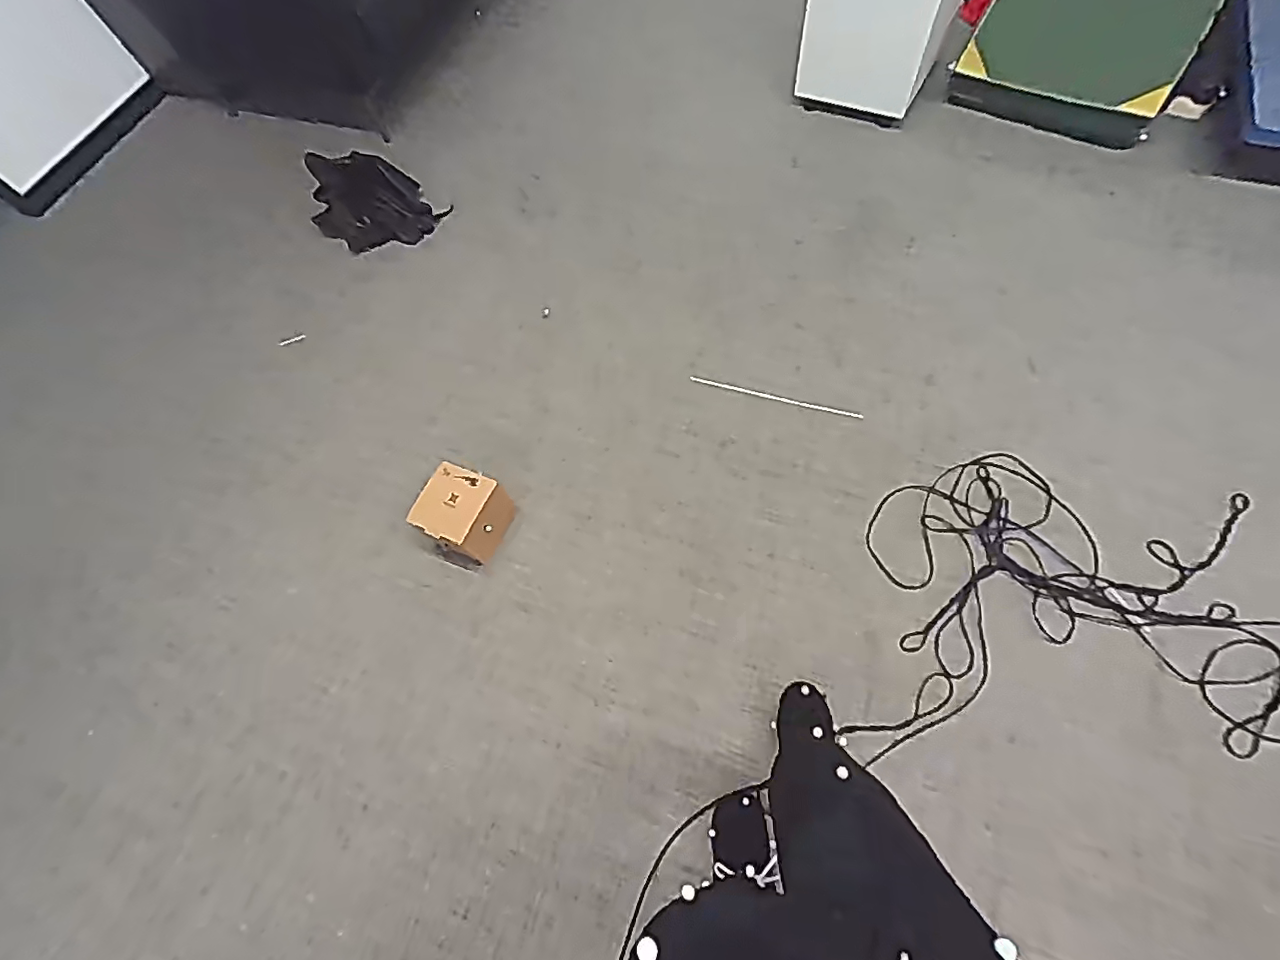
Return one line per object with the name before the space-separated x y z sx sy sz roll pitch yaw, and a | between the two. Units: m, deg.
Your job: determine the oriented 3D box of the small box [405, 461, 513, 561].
small box | -0.444 0.085 1.364 0.168 0.176 0.179 20 70 14
